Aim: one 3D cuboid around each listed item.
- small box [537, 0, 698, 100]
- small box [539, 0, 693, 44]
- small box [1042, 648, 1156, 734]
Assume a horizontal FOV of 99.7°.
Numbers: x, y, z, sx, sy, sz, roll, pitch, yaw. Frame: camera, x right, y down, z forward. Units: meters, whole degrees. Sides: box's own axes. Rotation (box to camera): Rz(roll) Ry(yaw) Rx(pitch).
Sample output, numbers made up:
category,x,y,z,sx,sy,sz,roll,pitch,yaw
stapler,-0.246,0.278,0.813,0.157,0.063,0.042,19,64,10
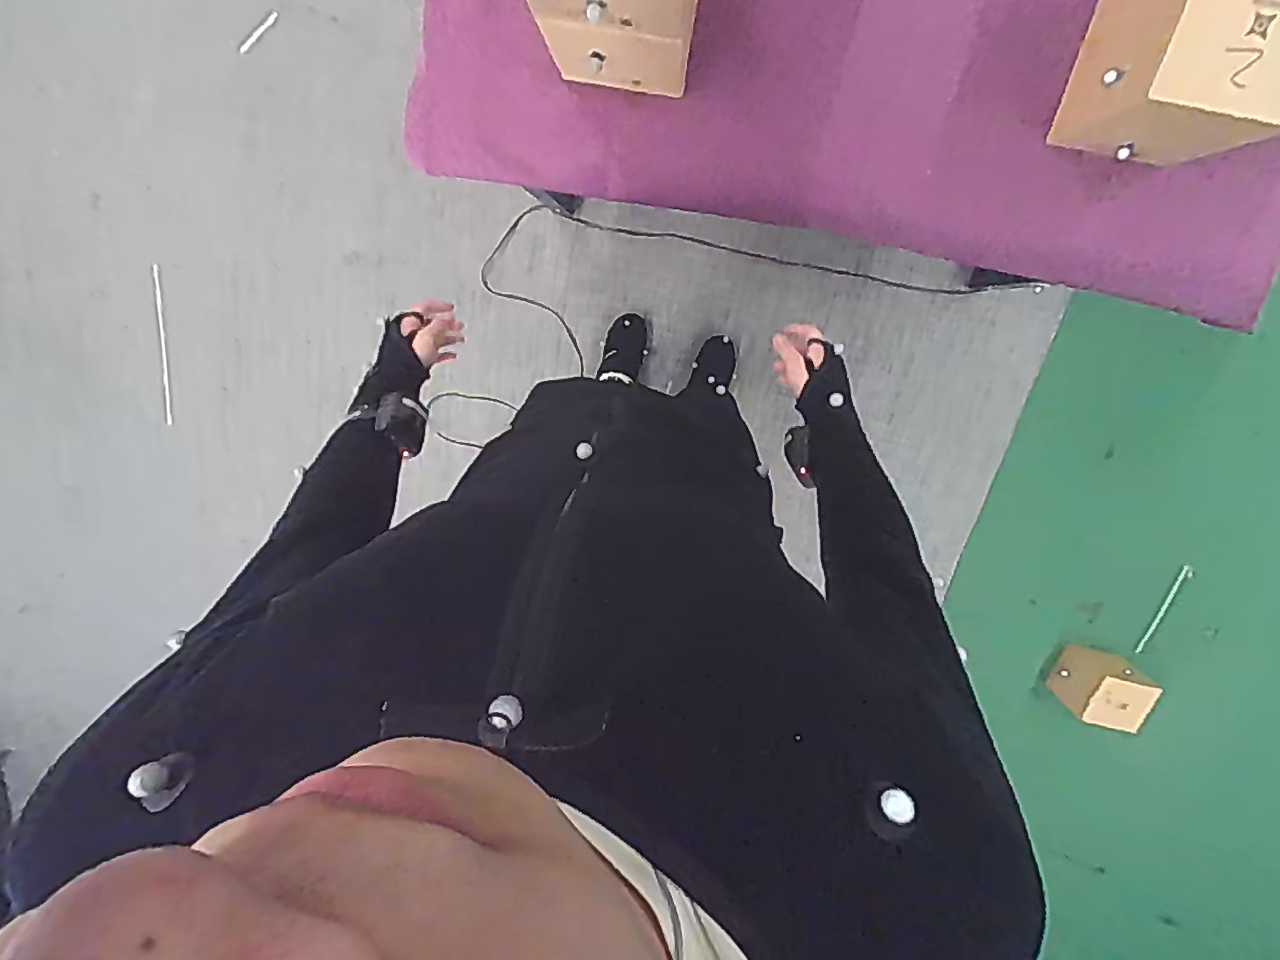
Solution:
category,x,y,z,sx,sy,sz,roll,pitch,yaw
small box,-0.014,-0.584,0.637,0.168,0.176,0.179,9,106,0
small box,-0.021,-0.540,0.479,0.168,0.176,0.179,10,107,0
small box,1.422,0.652,1.687,0.179,0.176,0.168,13,107,-1
